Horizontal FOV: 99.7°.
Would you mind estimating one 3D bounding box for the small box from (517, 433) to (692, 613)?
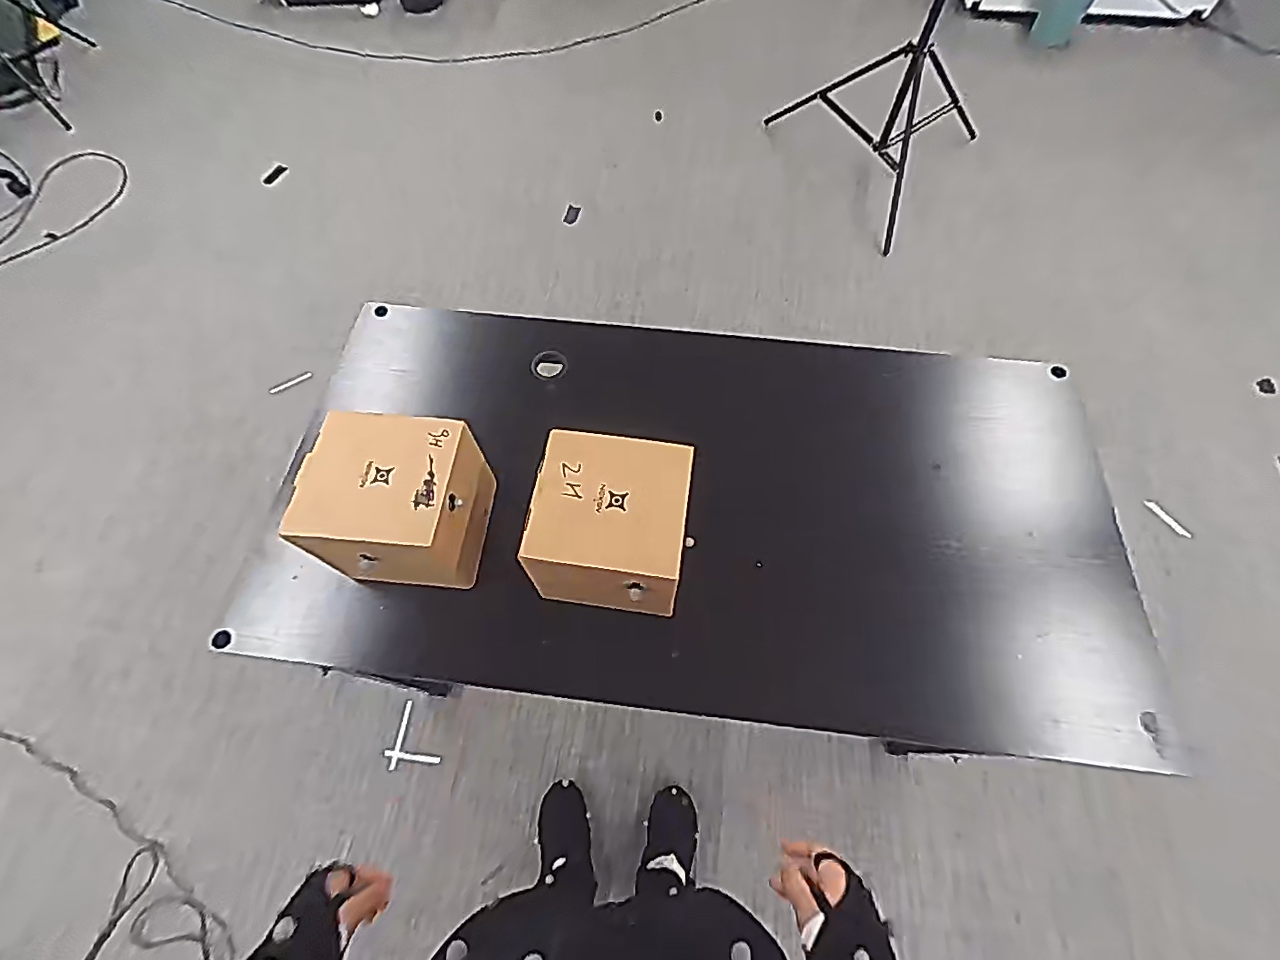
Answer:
[{"bbox_3d":[-0.035,0.062,0.682,0.179,0.176,0.168,7,63,5],"label":"small box"}]

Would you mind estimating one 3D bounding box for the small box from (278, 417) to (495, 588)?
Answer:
[{"bbox_3d":[-0.307,0.035,0.699,0.179,0.176,0.168,4,63,3],"label":"small box"}]
